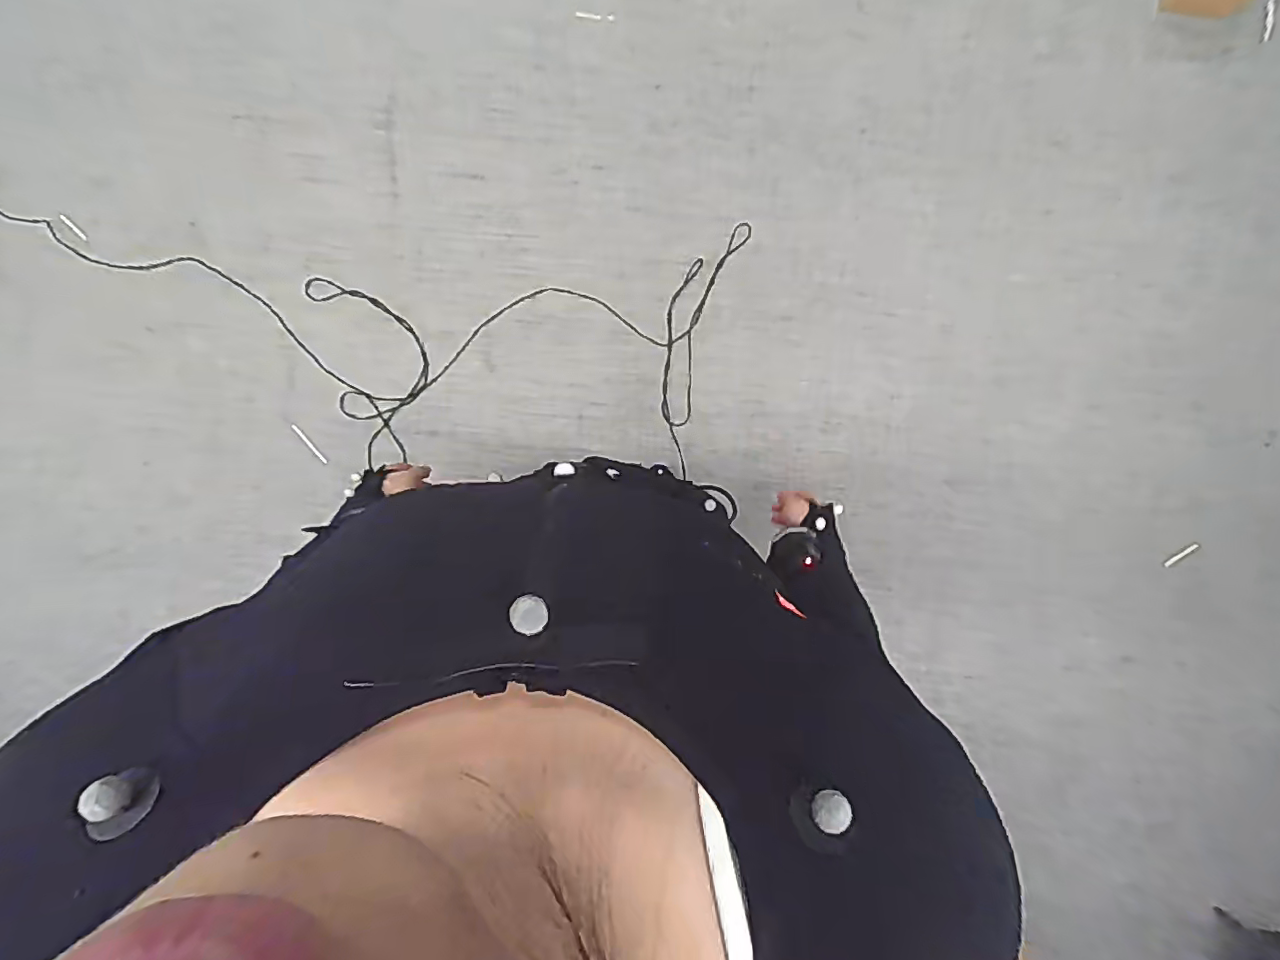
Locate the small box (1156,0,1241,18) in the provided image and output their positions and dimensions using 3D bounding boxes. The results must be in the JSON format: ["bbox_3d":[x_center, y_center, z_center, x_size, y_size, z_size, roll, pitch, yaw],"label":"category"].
[{"bbox_3d":[1.445,-1.293,1.329,0.179,0.176,0.168,11,92,1],"label":"small box"}]
